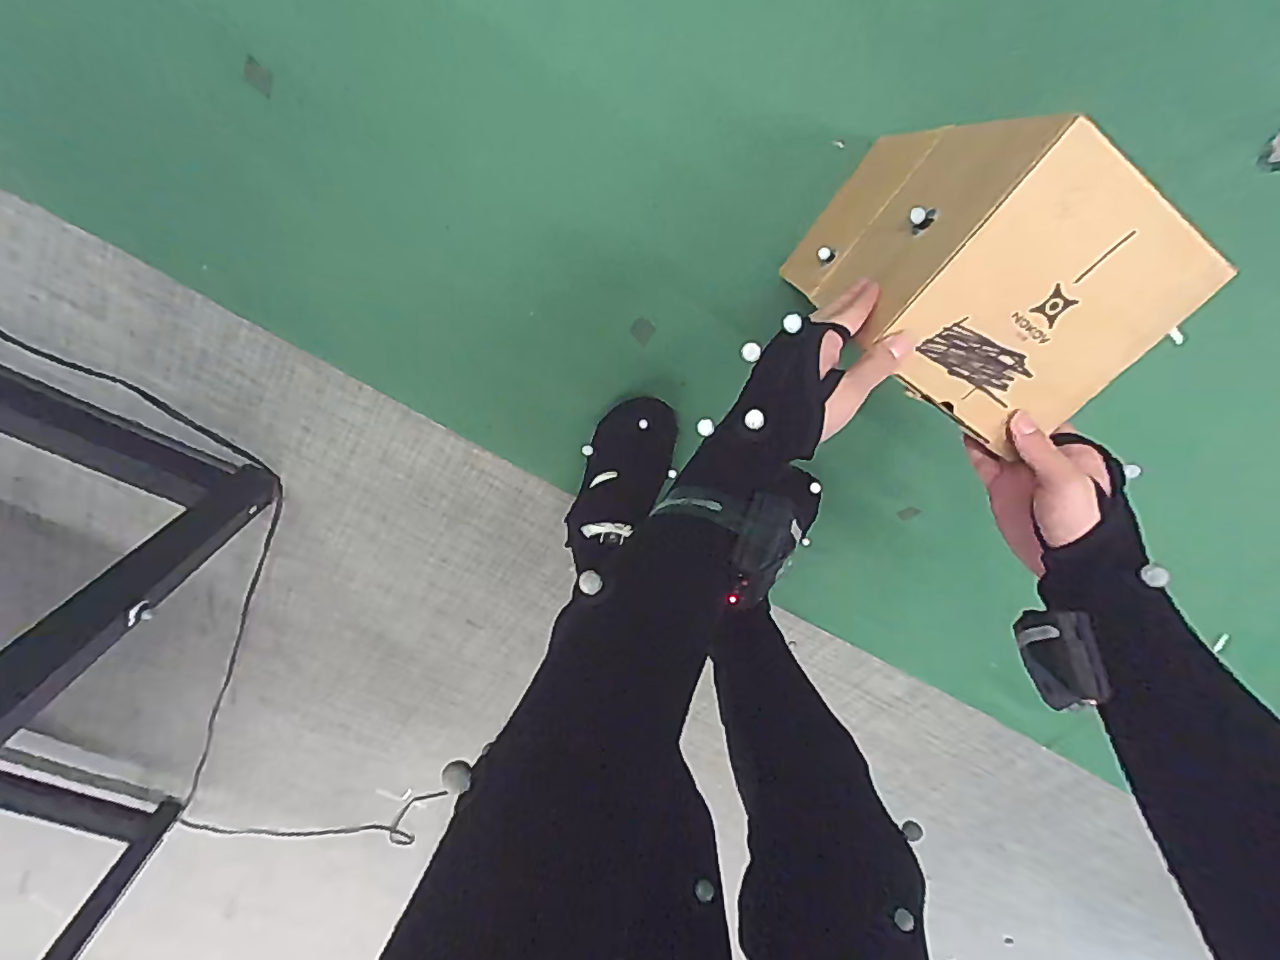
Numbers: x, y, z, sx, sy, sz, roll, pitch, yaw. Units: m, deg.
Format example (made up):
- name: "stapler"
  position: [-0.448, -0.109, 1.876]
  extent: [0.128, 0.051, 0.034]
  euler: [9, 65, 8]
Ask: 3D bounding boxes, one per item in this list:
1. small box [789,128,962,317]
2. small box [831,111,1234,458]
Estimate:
- name: "small box"
  position: [0.286, -0.240, 0.582]
  extent: [0.168, 0.176, 0.179]
  euler: [30, 118, -15]
- name: "small box"
  position: [0.281, -0.156, 0.441]
  extent: [0.168, 0.176, 0.179]
  euler: [30, 117, -15]
